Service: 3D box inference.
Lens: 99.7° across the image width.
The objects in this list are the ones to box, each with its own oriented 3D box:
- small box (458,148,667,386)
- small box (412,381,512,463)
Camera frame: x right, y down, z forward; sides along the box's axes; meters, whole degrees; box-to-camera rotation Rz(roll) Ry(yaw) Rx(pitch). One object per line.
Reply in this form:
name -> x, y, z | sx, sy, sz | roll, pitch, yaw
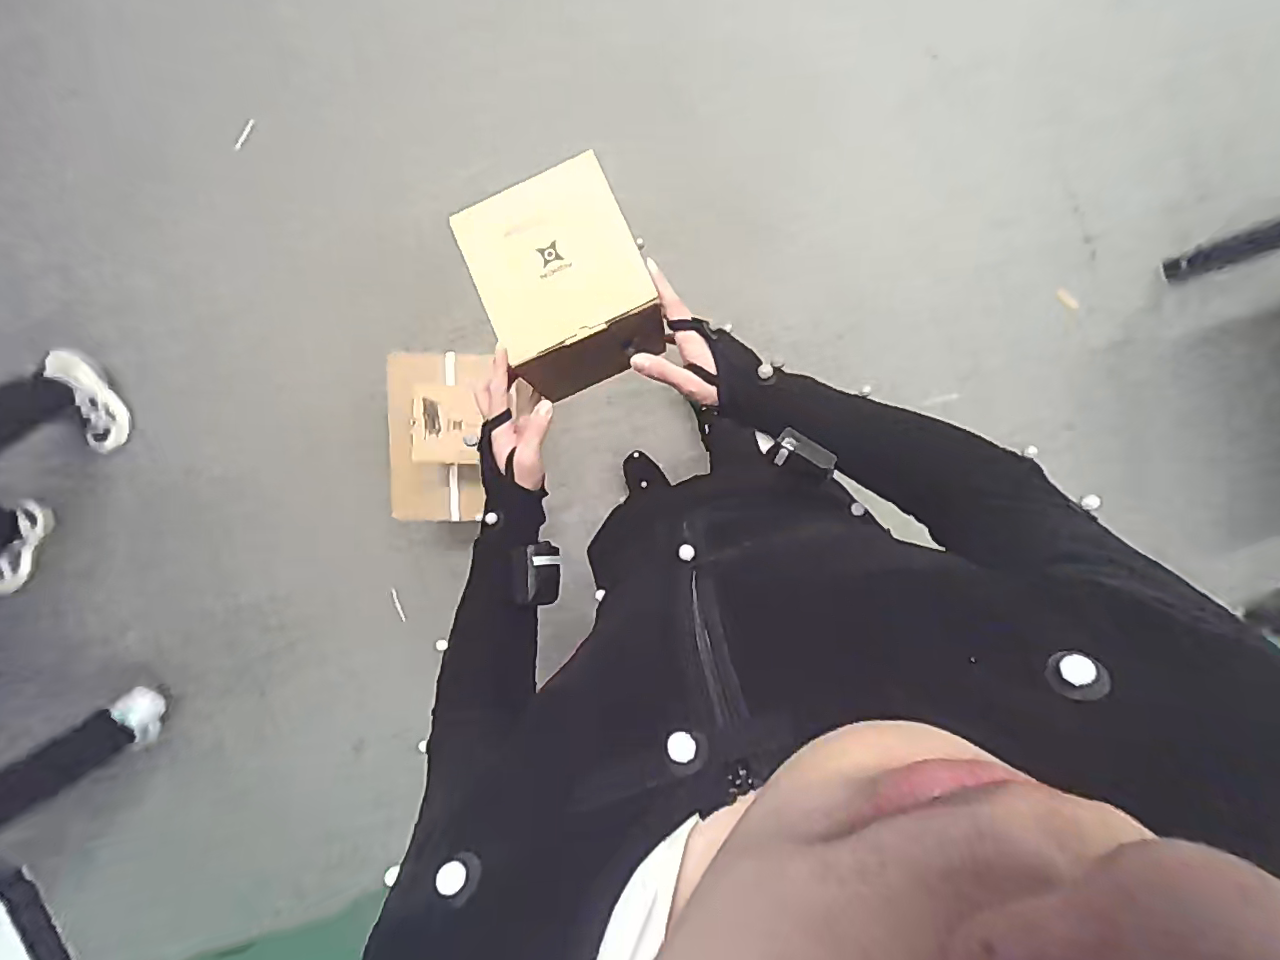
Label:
small box -> -0.074, -0.221, 0.619 | 0.168, 0.176, 0.179 | -22, 84, 3
small box -> -0.394, -0.128, 1.216 | 0.179, 0.176, 0.168 | 2, 96, -3
